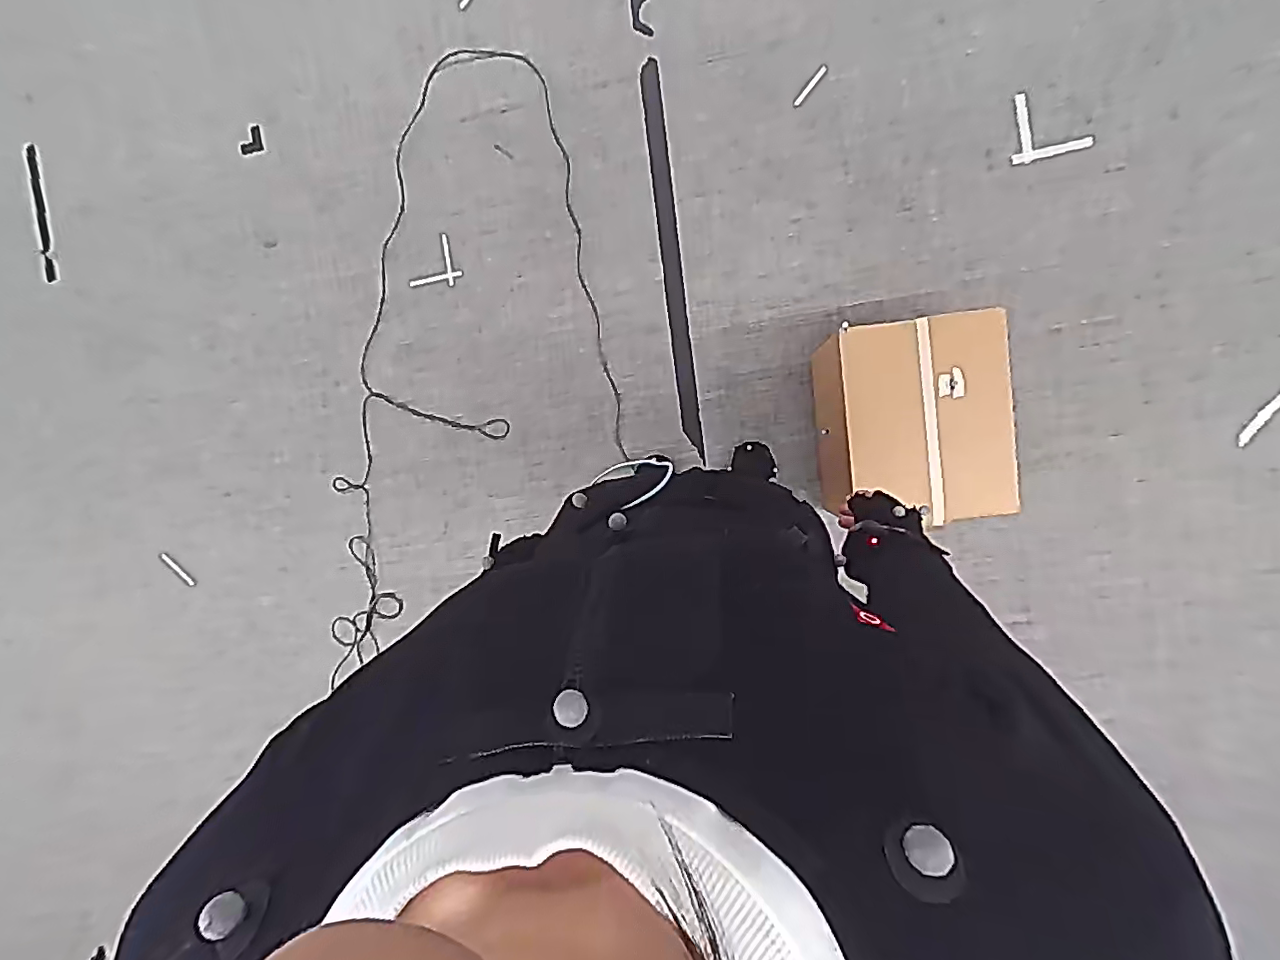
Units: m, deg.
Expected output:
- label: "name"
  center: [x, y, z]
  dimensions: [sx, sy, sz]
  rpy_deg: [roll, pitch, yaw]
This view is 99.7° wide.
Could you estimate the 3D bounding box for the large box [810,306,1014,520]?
- label: "large box"
  center: [0.591, -0.136, 1.236]
  dimensions: [0.320, 0.320, 0.408]
  rpy_deg: [-6, 92, 6]
